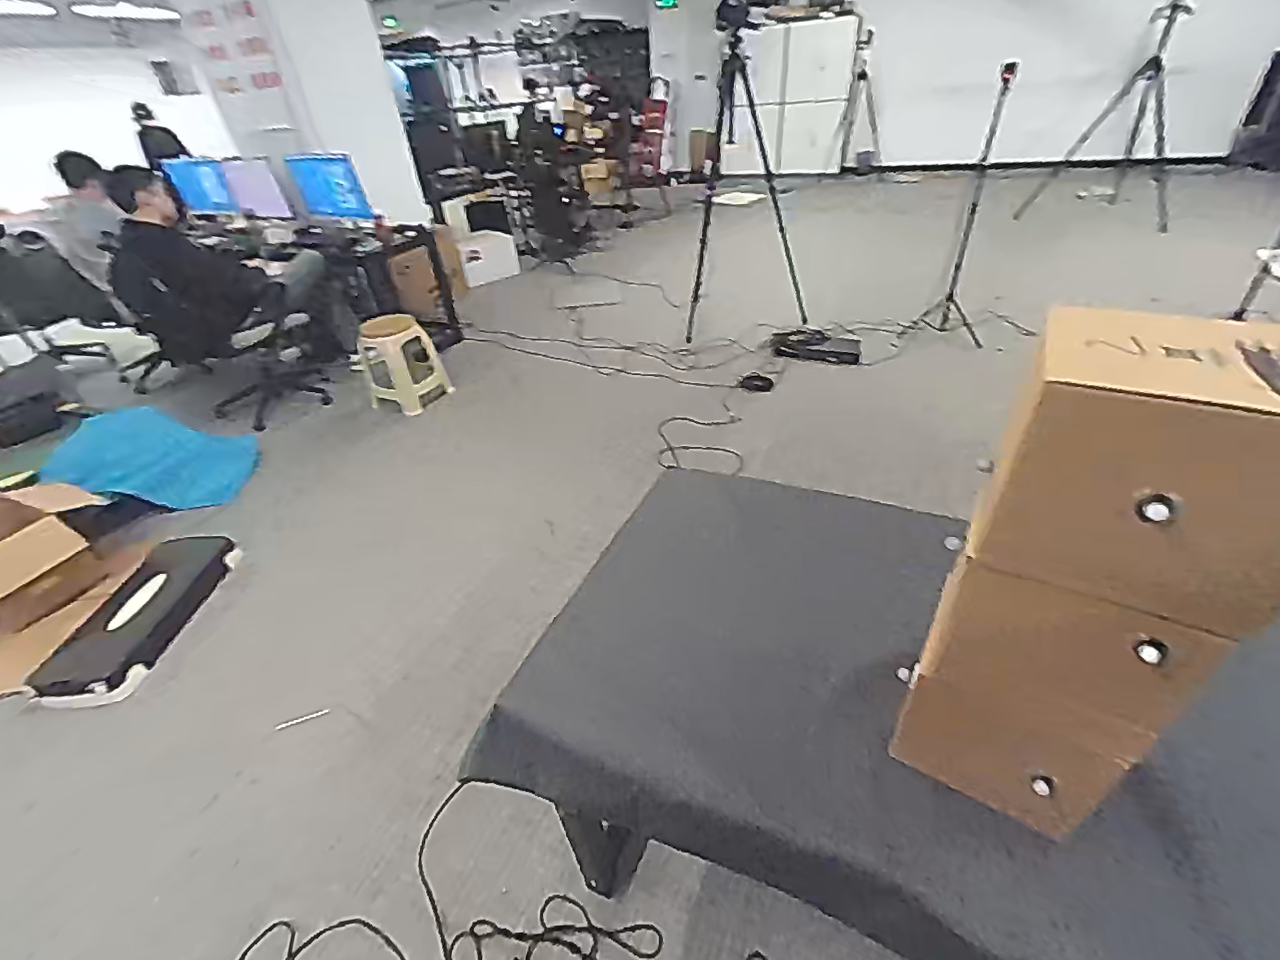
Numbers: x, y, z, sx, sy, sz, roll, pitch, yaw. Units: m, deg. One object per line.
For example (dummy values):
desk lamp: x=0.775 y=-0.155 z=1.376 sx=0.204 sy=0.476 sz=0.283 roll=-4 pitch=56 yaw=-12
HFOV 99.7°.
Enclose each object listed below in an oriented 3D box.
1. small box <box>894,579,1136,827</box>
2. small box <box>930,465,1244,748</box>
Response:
small box: x=0.410 y=0.247 z=0.607 sx=0.179 sy=0.176 sz=0.168 roll=18 pitch=41 yaw=30
small box: x=0.400 y=0.114 z=0.515 sx=0.179 sy=0.176 sz=0.168 roll=20 pitch=42 yaw=29
